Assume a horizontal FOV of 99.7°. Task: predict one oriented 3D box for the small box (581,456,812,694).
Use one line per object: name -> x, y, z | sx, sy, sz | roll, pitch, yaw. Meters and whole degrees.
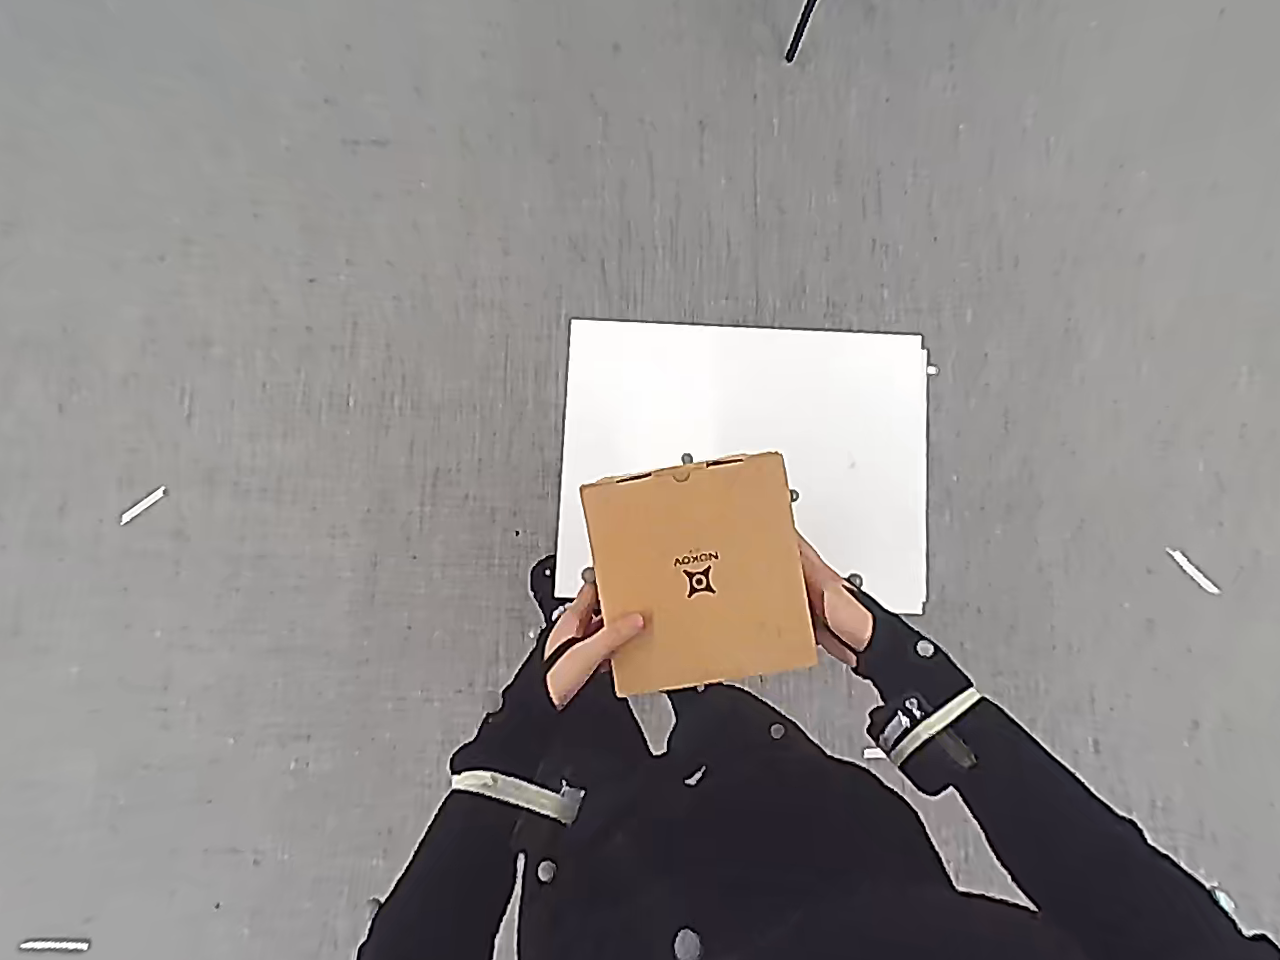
small box -> 0.049, 0.074, 0.512 | 0.168, 0.176, 0.179 | -10, 91, 2
